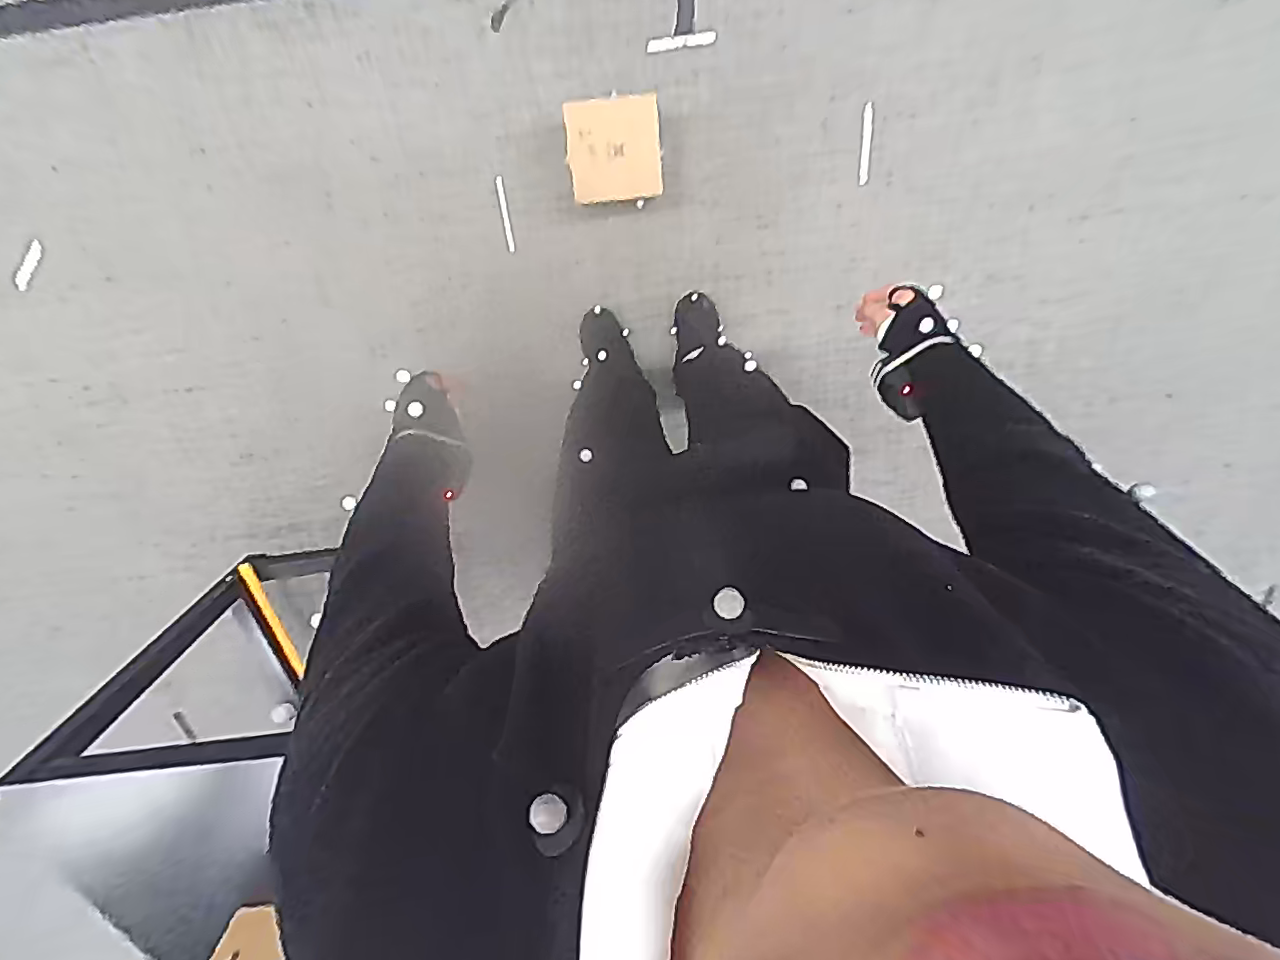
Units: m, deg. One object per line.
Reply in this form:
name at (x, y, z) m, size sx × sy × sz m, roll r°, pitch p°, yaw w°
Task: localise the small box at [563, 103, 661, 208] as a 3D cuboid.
small box at (-0.054, -0.654, 1.104) m, size 0.179 × 0.176 × 0.168 m, roll -5°, pitch 116°, yaw 1°
